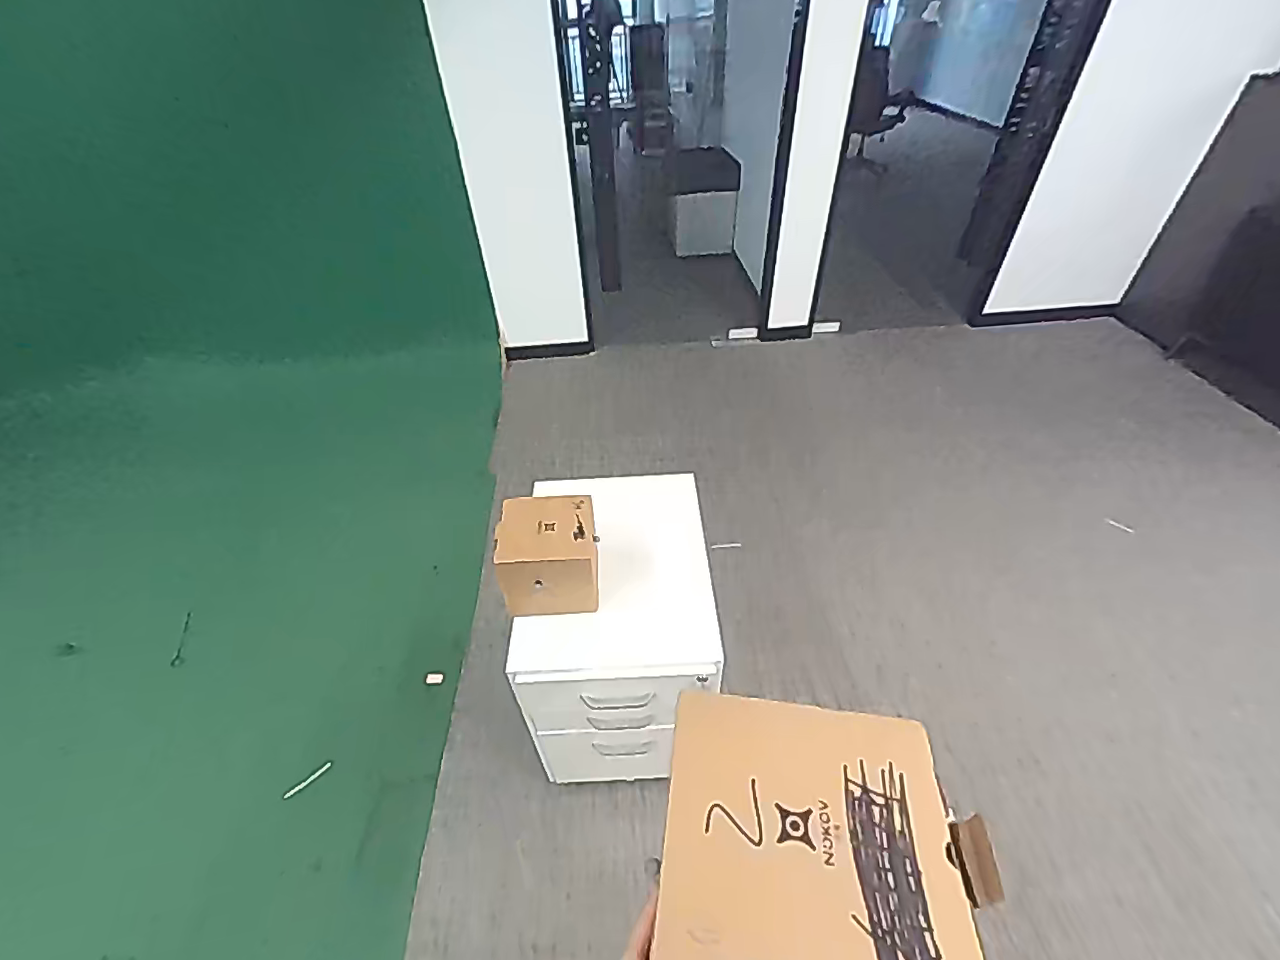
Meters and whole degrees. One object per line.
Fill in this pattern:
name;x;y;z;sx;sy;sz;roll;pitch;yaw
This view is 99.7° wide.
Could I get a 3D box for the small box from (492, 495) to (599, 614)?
small box;-0.174;0.148;1.057;0.179;0.176;0.168;-3;43;-2
